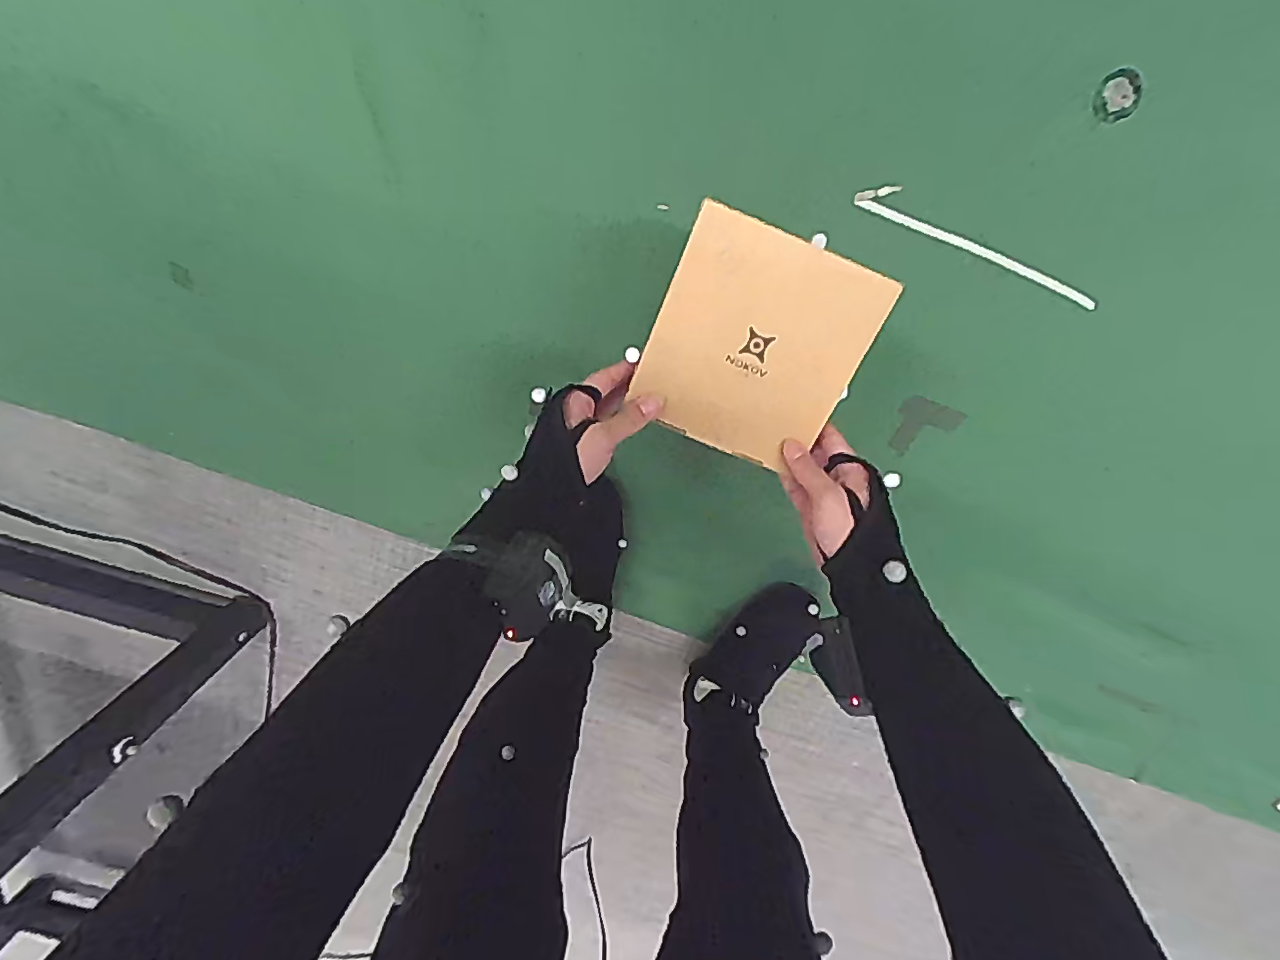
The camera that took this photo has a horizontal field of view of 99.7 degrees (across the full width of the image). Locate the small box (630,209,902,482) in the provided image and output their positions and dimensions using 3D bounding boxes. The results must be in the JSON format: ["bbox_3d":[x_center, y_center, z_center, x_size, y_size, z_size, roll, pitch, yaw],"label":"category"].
[{"bbox_3d":[0.101,-0.131,0.510,0.168,0.176,0.179,21,114,-5],"label":"small box"}]
